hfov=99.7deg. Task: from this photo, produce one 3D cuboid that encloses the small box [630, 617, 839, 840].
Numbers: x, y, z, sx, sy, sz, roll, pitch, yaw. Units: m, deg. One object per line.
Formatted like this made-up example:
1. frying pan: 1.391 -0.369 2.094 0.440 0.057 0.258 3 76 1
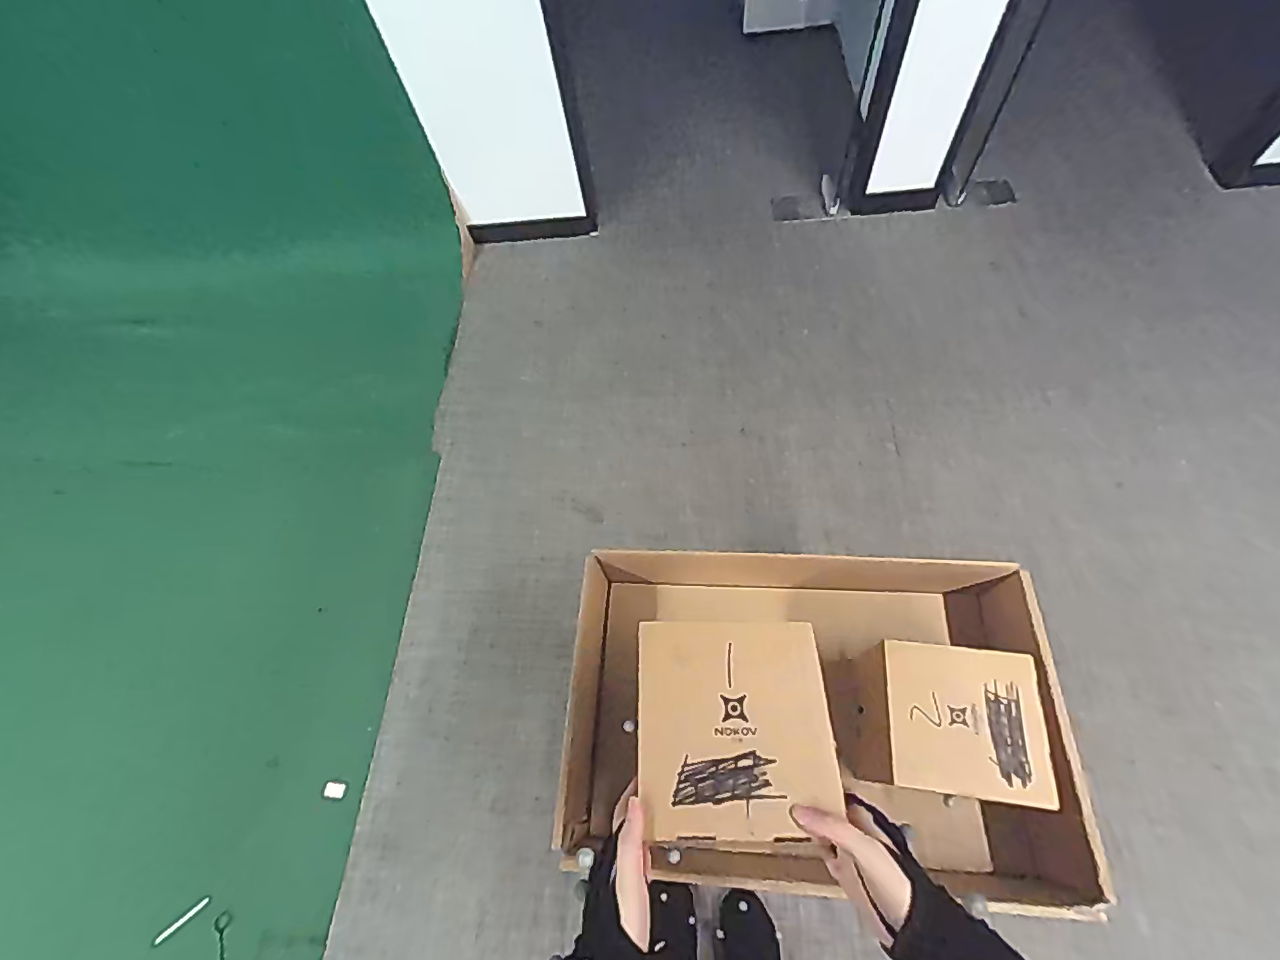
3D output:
1. small box: 0.078 0.249 0.534 0.168 0.176 0.179 -1 54 1
